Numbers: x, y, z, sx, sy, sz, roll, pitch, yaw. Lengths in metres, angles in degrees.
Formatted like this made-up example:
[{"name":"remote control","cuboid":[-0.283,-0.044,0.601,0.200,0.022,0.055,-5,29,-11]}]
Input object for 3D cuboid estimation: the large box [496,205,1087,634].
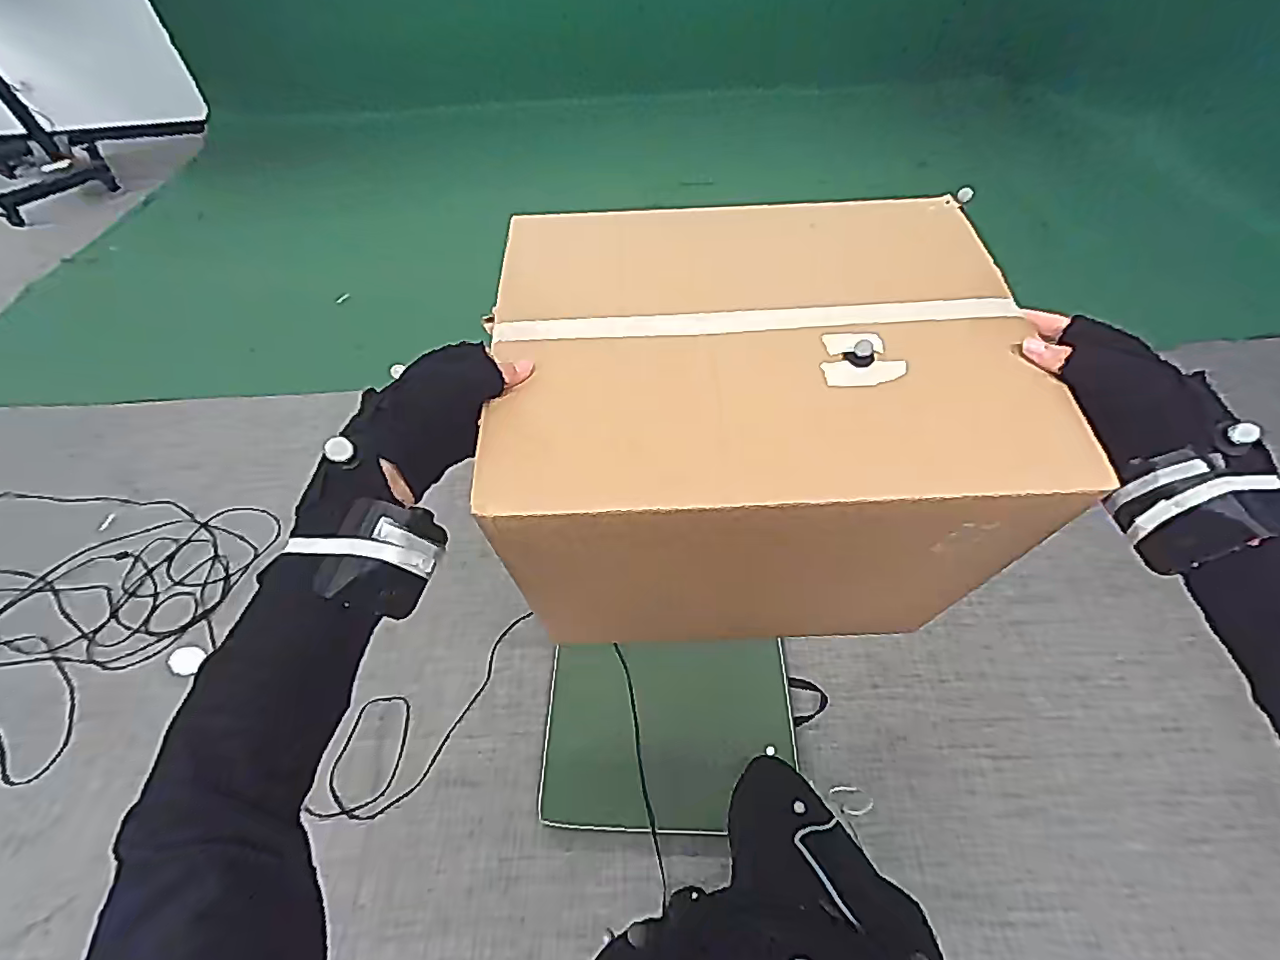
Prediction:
[{"name":"large box","cuboid":[0.094,-0.044,0.558,0.408,0.320,0.320,-2,59,-1]}]
